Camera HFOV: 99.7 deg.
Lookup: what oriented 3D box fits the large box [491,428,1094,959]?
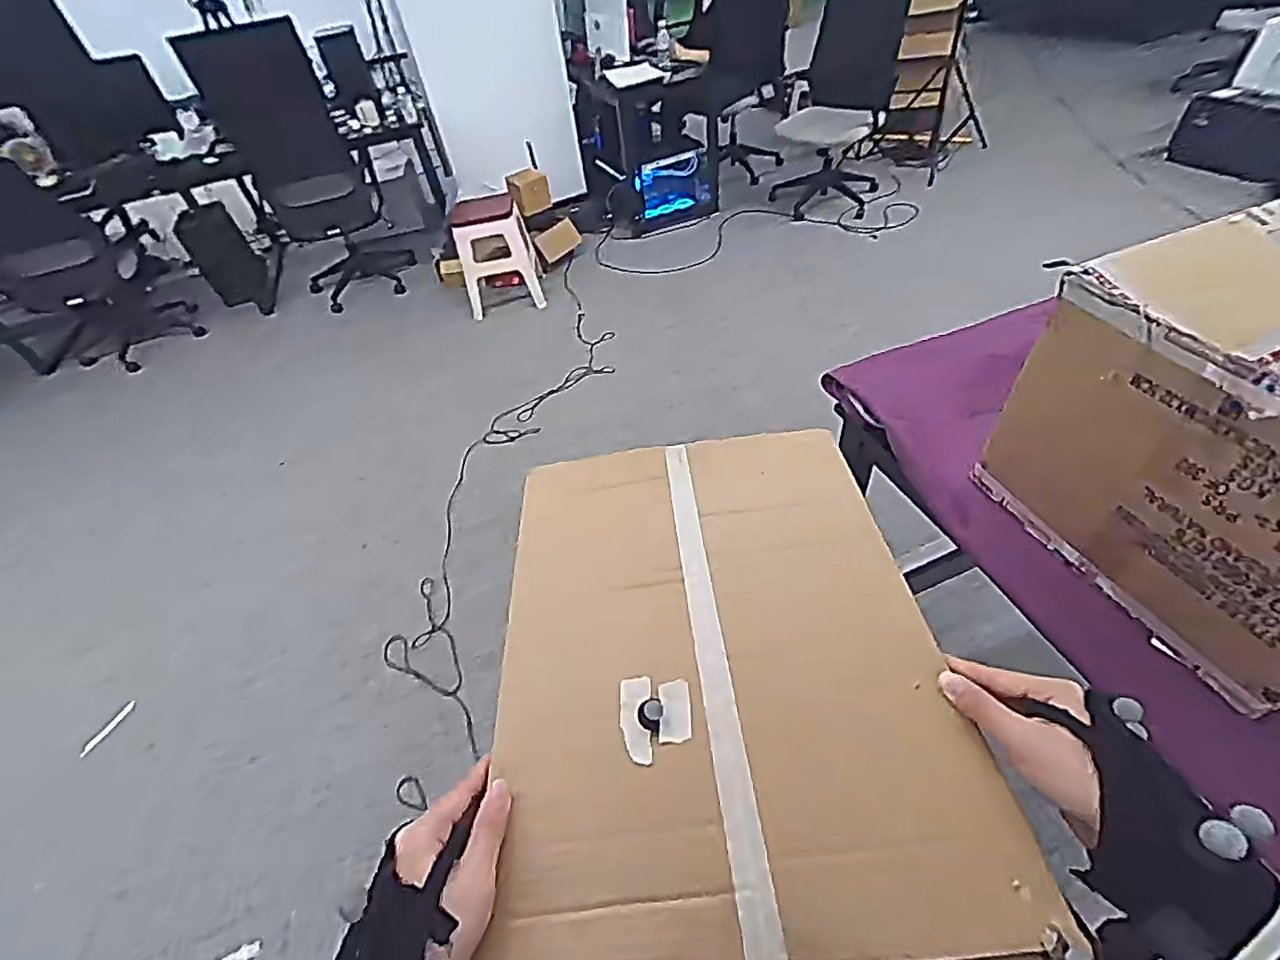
[{"bbox_3d":[0.073,0.207,0.512,0.320,0.320,0.408,-8,45,2],"label":"large box"}]
